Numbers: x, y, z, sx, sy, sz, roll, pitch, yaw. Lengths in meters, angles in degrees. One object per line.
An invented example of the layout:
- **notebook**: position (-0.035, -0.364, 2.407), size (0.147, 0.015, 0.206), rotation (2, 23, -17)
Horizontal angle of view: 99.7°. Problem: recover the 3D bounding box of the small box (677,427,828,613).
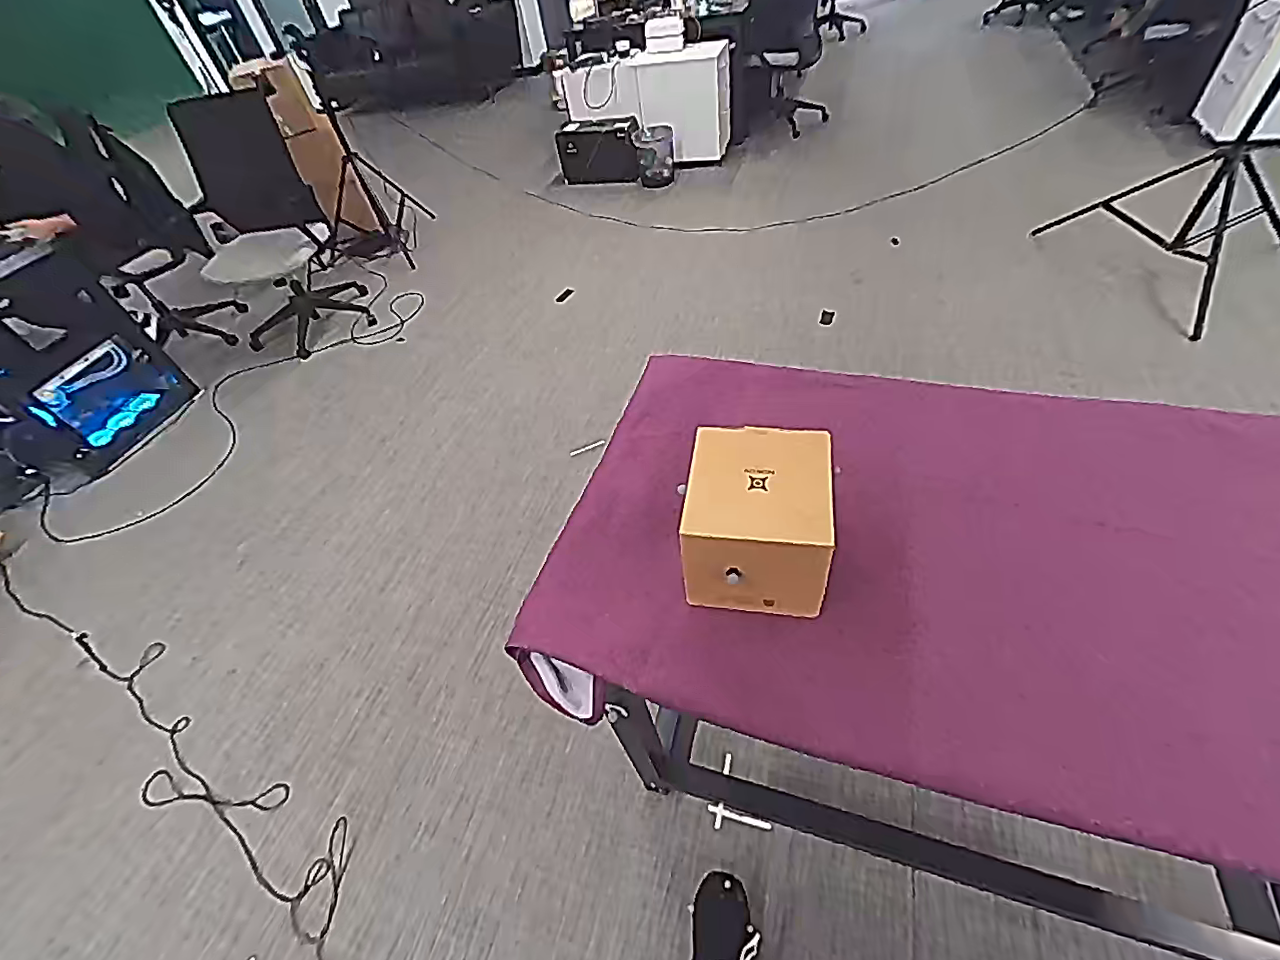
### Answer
- **small box**: position (0.147, 0.052, 0.693), size (0.168, 0.176, 0.179), rotation (3, 49, 13)
